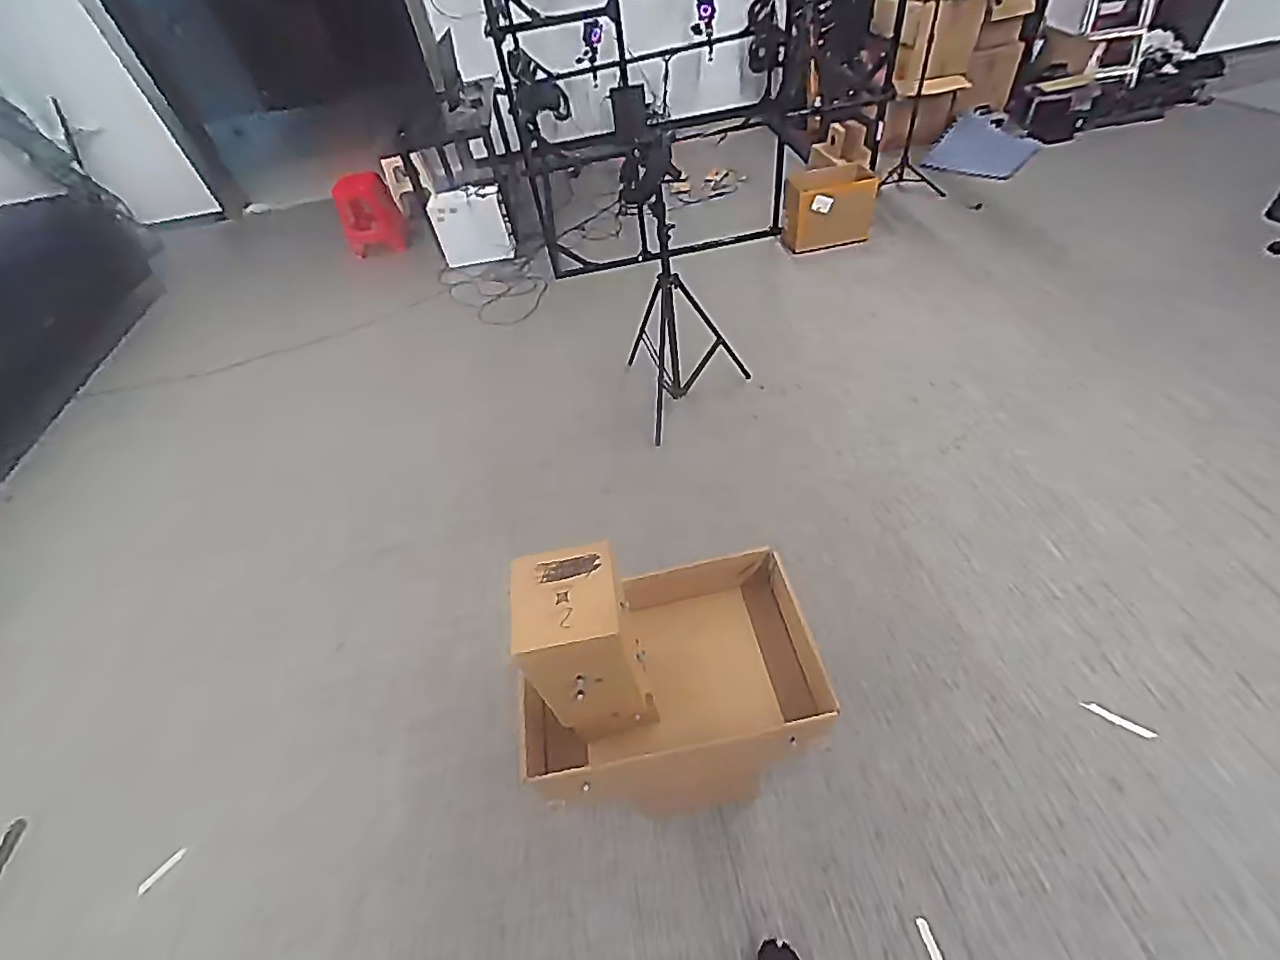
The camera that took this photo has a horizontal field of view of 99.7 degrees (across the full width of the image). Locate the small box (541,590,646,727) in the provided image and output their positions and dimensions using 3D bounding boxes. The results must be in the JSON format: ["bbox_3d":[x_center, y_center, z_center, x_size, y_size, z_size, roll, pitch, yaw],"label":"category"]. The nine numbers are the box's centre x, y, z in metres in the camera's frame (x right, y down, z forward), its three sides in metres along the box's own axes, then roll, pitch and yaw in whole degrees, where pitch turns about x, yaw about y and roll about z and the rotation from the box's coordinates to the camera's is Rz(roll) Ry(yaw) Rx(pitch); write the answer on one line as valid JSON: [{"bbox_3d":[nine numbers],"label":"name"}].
[{"bbox_3d":[-0.088,0.341,1.029,0.168,0.176,0.179,-12,46,0],"label":"small box"}]

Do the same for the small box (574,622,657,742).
[{"bbox_3d":[-0.067,0.434,1.162,0.179,0.176,0.168,-16,47,-3],"label":"small box"}]
